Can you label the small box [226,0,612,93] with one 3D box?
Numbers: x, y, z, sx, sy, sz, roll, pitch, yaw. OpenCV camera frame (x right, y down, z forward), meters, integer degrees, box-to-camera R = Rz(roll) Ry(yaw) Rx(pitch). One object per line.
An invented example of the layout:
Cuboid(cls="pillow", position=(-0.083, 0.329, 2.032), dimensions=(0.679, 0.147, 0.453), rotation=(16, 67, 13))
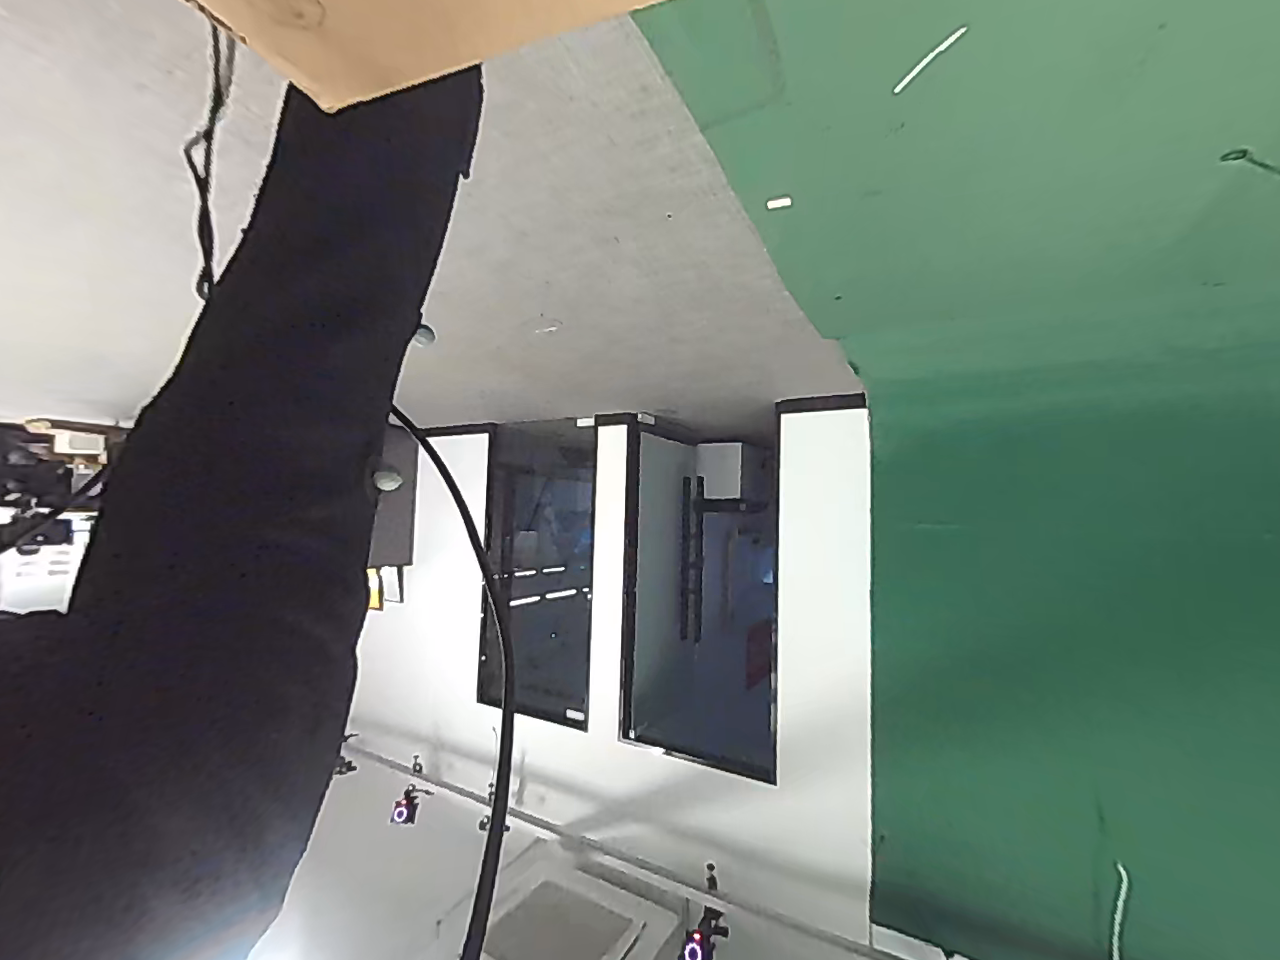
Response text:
Cuboid(cls="small box", position=(-0.055, -0.223, 0.089), dimensions=(0.179, 0.176, 0.168), rotation=(0, 176, 23))
